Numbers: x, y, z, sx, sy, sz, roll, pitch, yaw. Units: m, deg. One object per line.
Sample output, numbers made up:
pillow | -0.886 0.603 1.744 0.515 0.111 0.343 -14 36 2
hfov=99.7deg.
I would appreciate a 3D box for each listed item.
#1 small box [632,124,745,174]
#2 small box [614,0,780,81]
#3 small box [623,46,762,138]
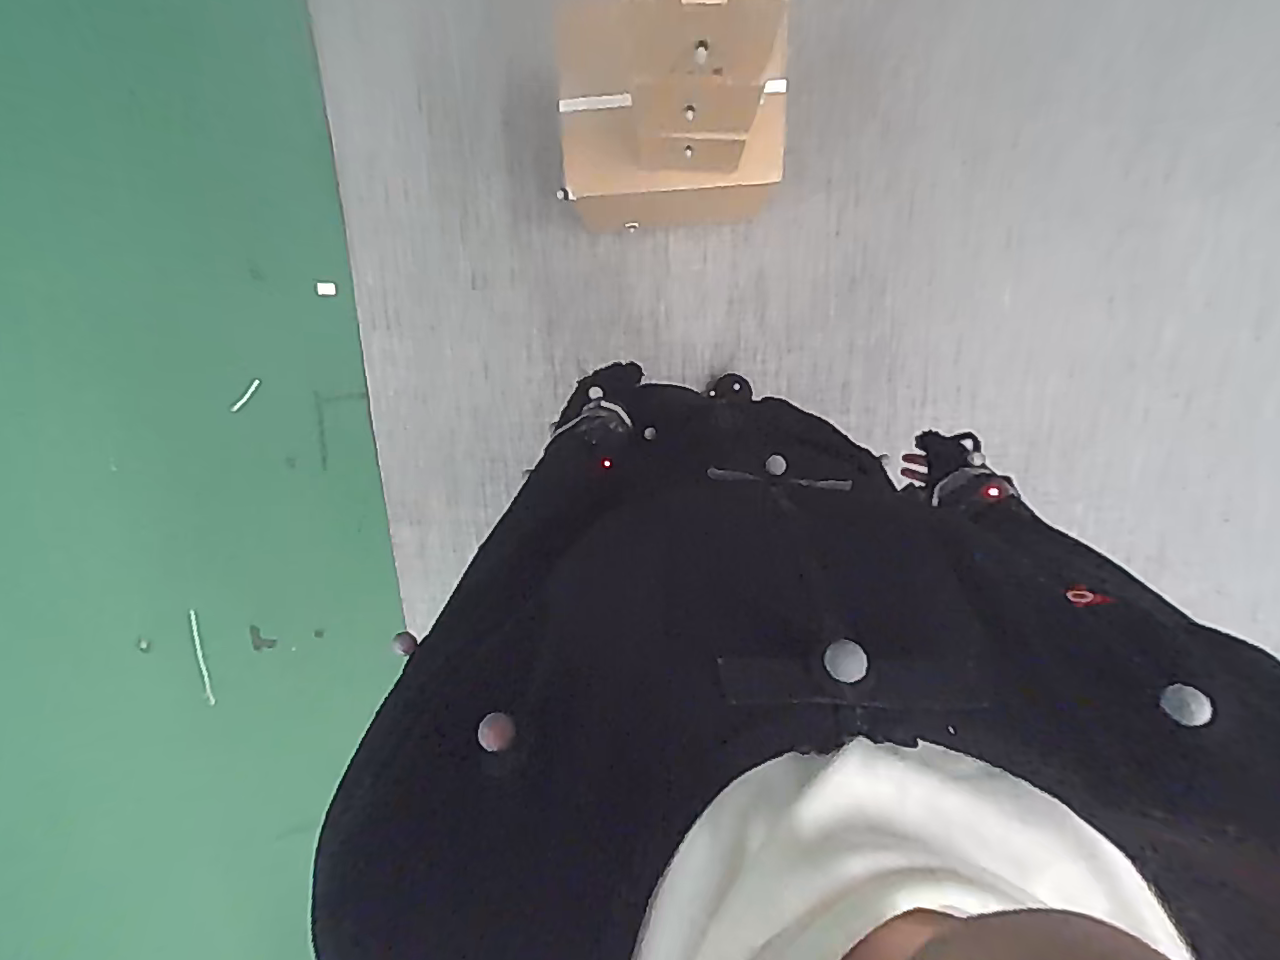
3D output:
small box | 0.083 -0.627 0.902 0.179 0.176 0.168 3 105 2
small box | 0.067 -0.561 0.581 0.168 0.176 0.179 4 105 3
small box | 0.074 -0.592 0.742 0.179 0.176 0.168 3 104 4
